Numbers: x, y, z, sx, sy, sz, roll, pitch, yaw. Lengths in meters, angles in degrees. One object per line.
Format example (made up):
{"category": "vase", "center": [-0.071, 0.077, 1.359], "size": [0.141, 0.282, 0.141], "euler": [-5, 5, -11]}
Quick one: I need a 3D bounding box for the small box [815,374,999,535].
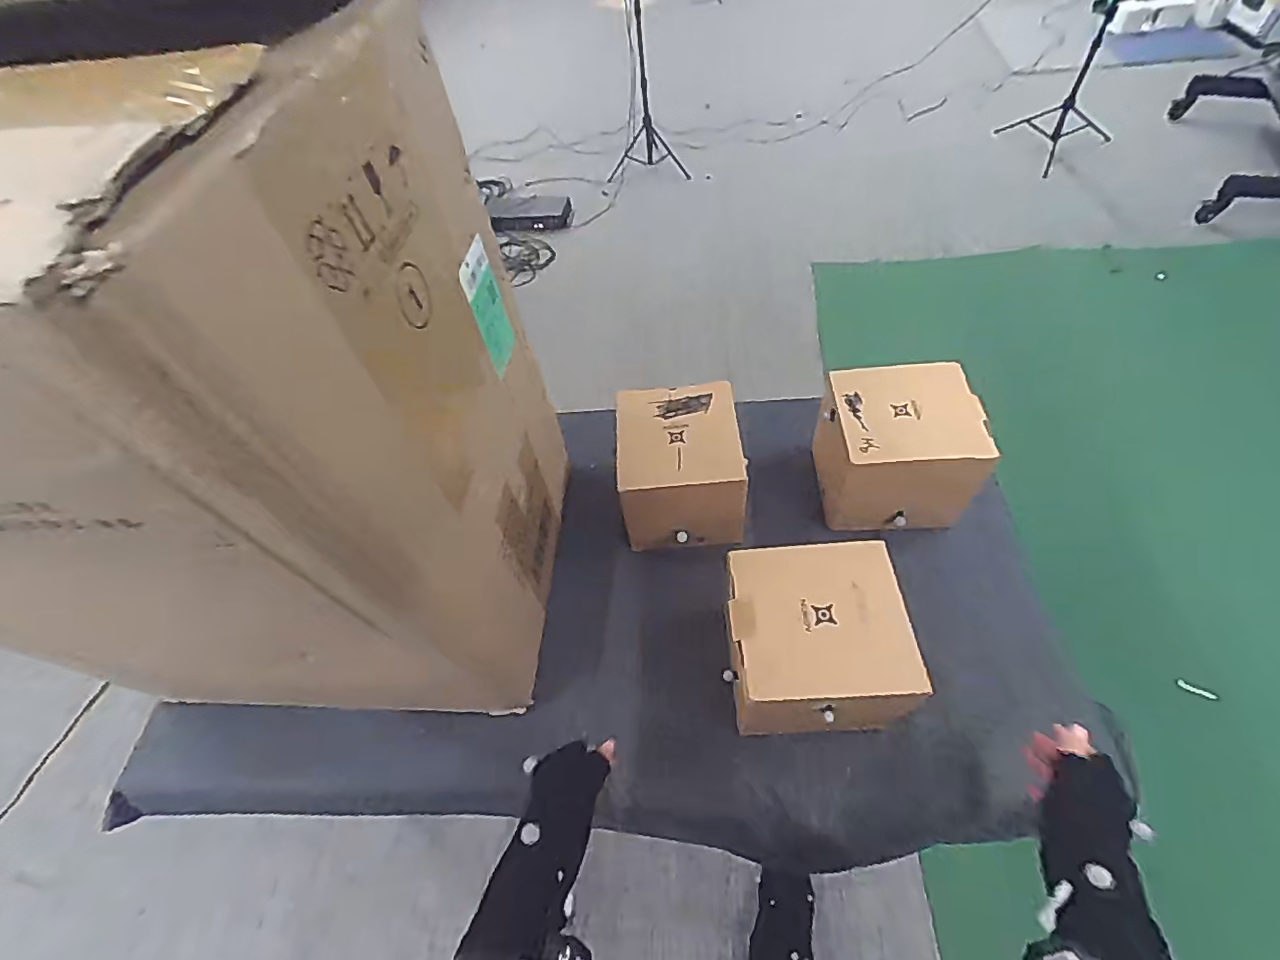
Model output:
{"category": "small box", "center": [0.363, -0.031, 0.775], "size": [0.179, 0.176, 0.168], "euler": [-2, 53, 6]}
